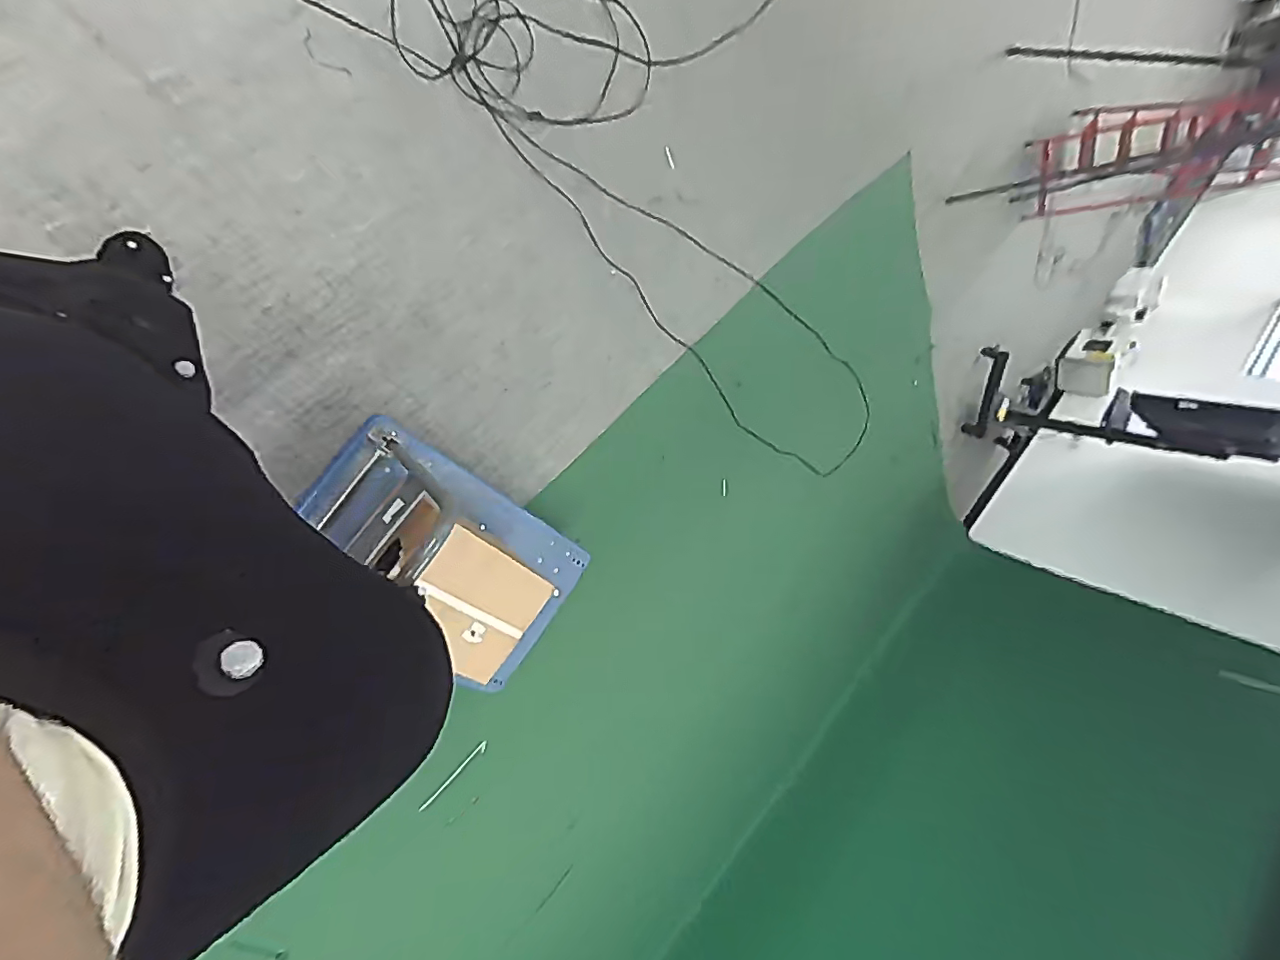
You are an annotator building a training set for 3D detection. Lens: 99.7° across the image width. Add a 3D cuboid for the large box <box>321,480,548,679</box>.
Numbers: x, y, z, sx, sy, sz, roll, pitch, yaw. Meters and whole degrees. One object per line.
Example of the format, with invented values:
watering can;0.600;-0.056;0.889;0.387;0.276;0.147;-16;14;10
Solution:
large box;-0.534;0.258;1.423;0.320;0.320;0.408;-54;132;-10
